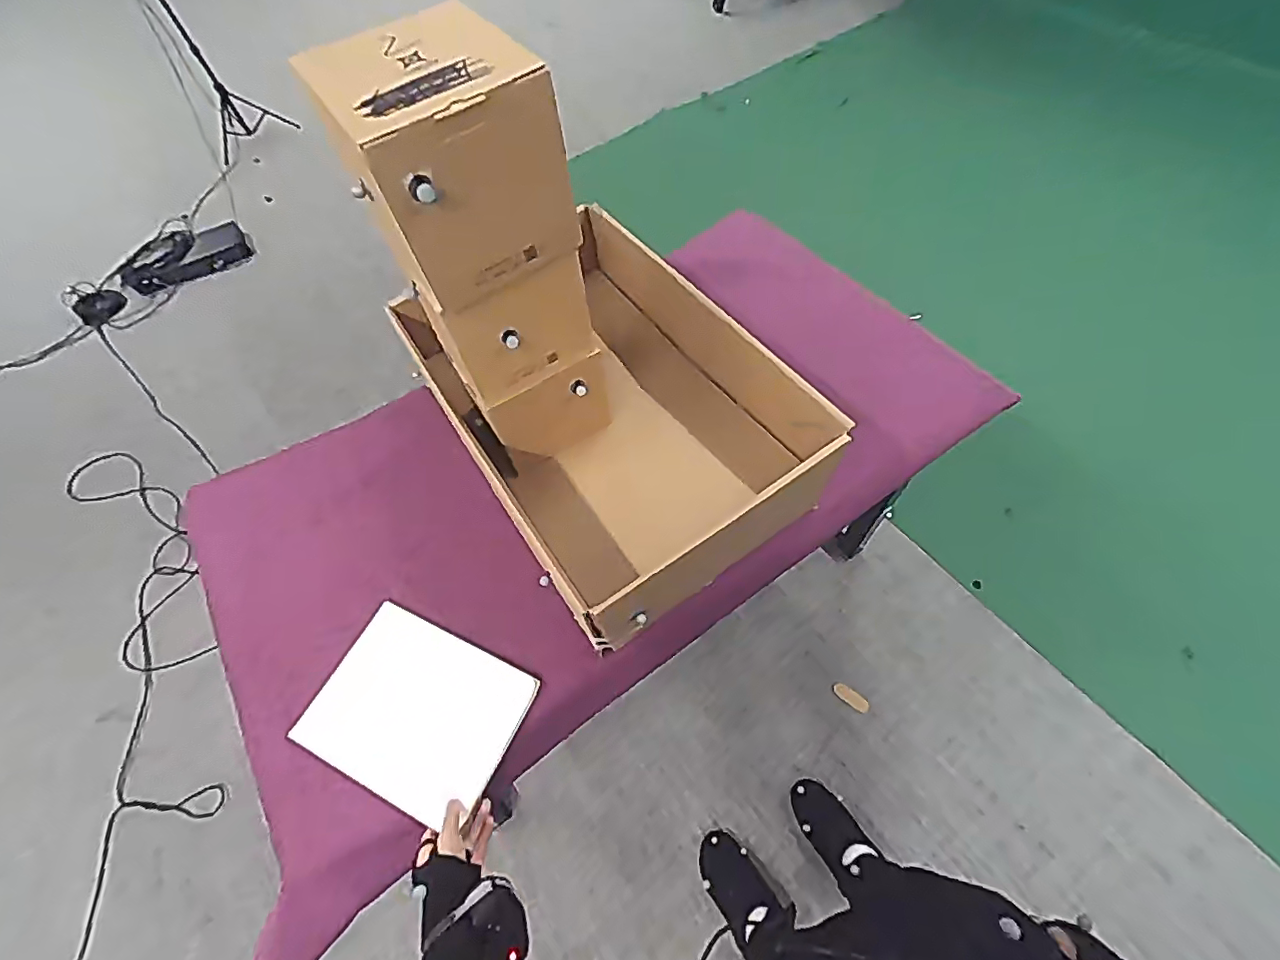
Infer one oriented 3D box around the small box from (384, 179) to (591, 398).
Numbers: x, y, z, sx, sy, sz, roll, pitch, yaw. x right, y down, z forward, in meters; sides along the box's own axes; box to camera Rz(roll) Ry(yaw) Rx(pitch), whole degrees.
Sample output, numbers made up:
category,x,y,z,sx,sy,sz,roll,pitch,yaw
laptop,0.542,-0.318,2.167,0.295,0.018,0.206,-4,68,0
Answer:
category,x,y,z,sx,sy,sz,roll,pitch,yaw
small box,-0.177,-0.226,0.672,0.168,0.176,0.179,-31,63,-13
